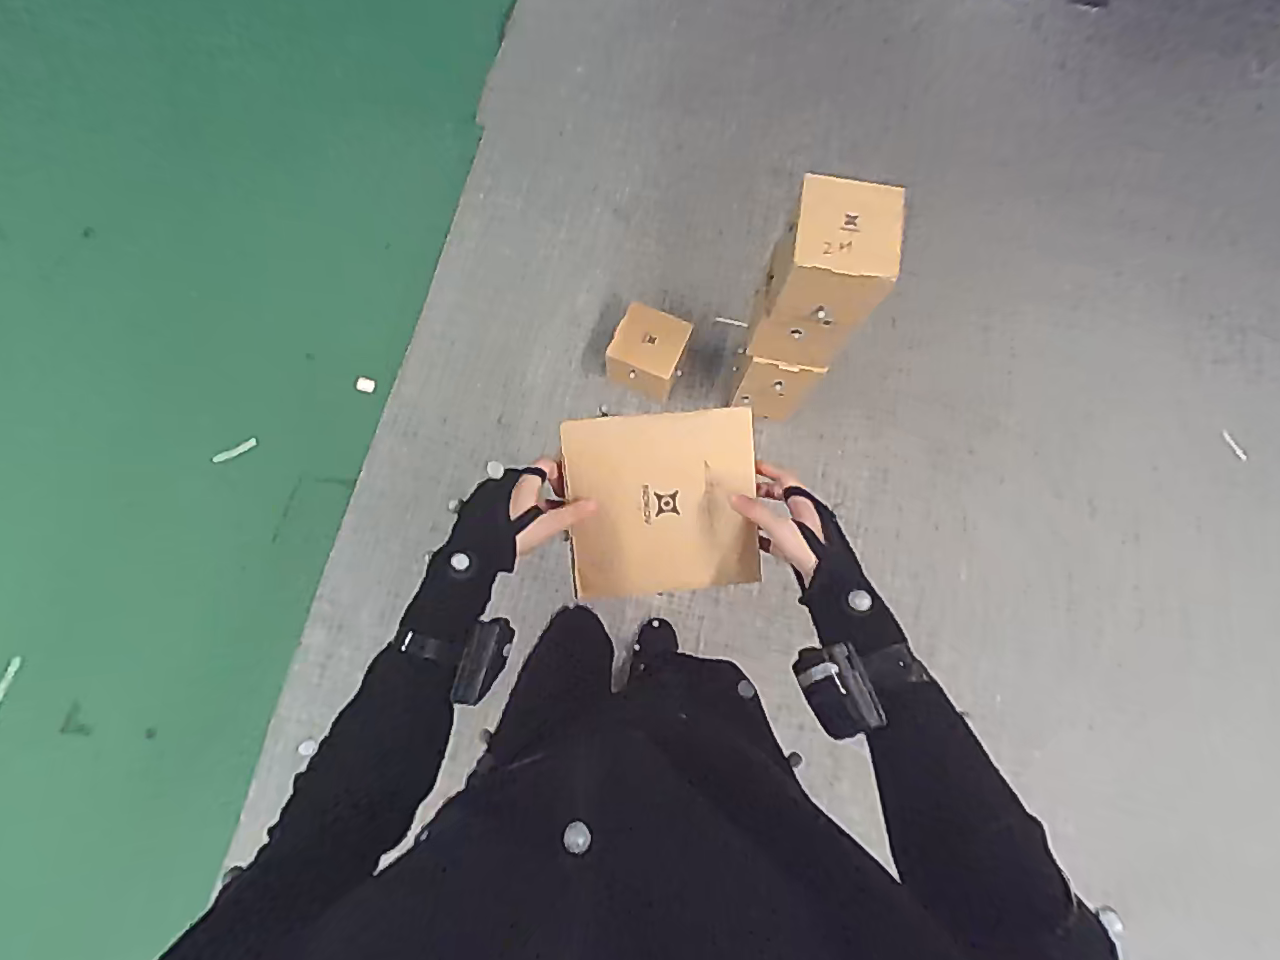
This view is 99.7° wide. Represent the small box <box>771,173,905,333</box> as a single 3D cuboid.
[{"bbox_3d":[0.334,-0.385,0.936,0.168,0.176,0.179,10,77,2],"label":"small box"}]

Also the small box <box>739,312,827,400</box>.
[{"bbox_3d":[0.334,-0.302,1.255,0.168,0.176,0.179,11,77,1],"label":"small box"}]

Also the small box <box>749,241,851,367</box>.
[{"bbox_3d":[0.329,-0.348,1.097,0.179,0.176,0.168,12,77,1],"label":"small box"}]

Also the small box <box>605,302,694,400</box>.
[{"bbox_3d":[0.025,-0.331,1.427,0.179,0.176,0.168,24,78,6],"label":"small box"}]

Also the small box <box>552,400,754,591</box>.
[{"bbox_3d":[0.009,0.008,0.566,0.179,0.176,0.168,-5,96,-4],"label":"small box"}]
